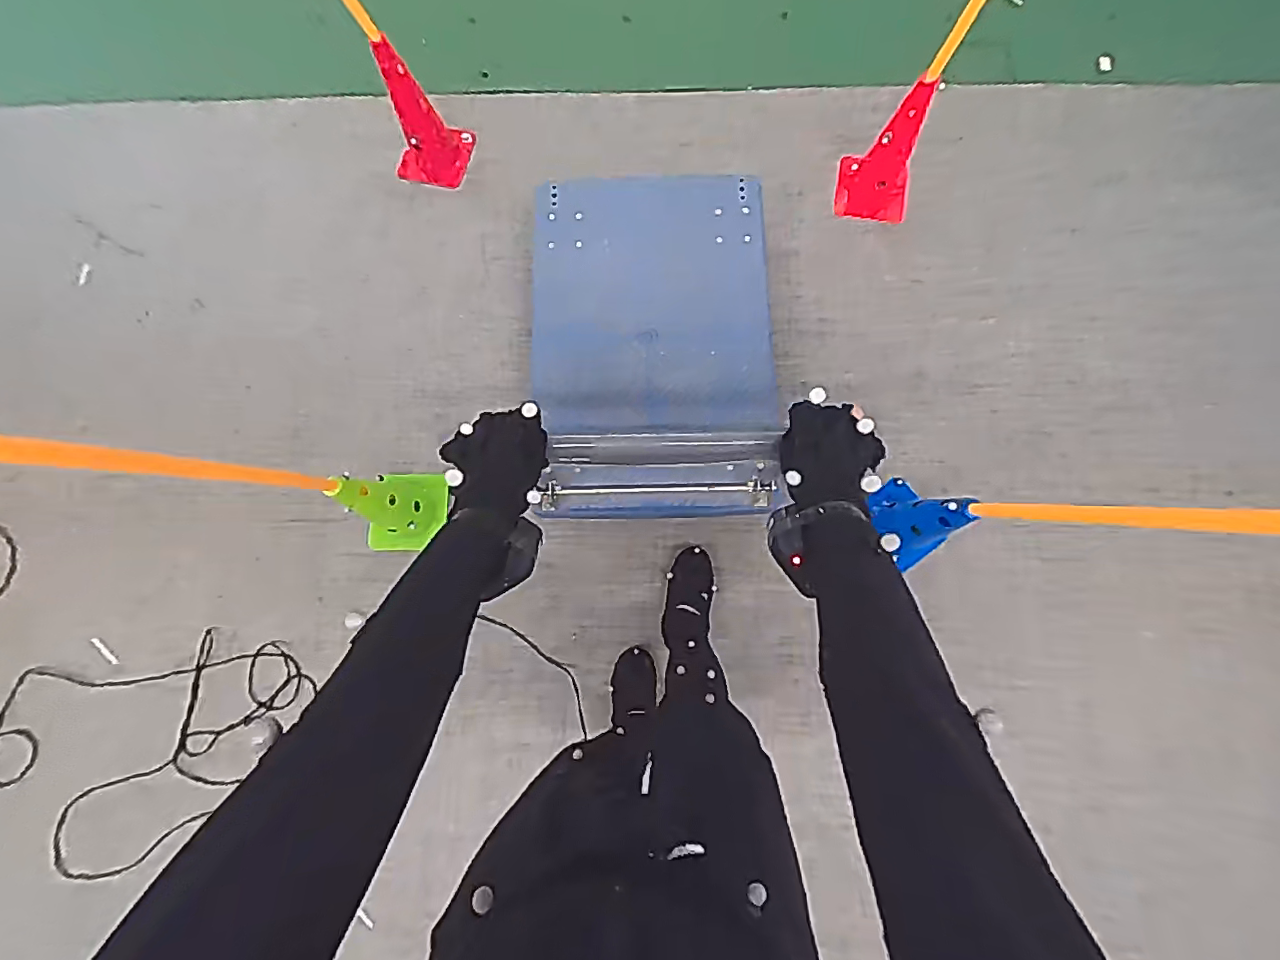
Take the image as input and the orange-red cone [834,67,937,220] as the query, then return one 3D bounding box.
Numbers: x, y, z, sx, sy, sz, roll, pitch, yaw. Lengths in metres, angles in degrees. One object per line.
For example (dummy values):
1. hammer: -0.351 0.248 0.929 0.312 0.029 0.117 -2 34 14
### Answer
1. orange-red cone: 0.658 -0.875 1.382 0.198 0.360 0.199 11 80 5
